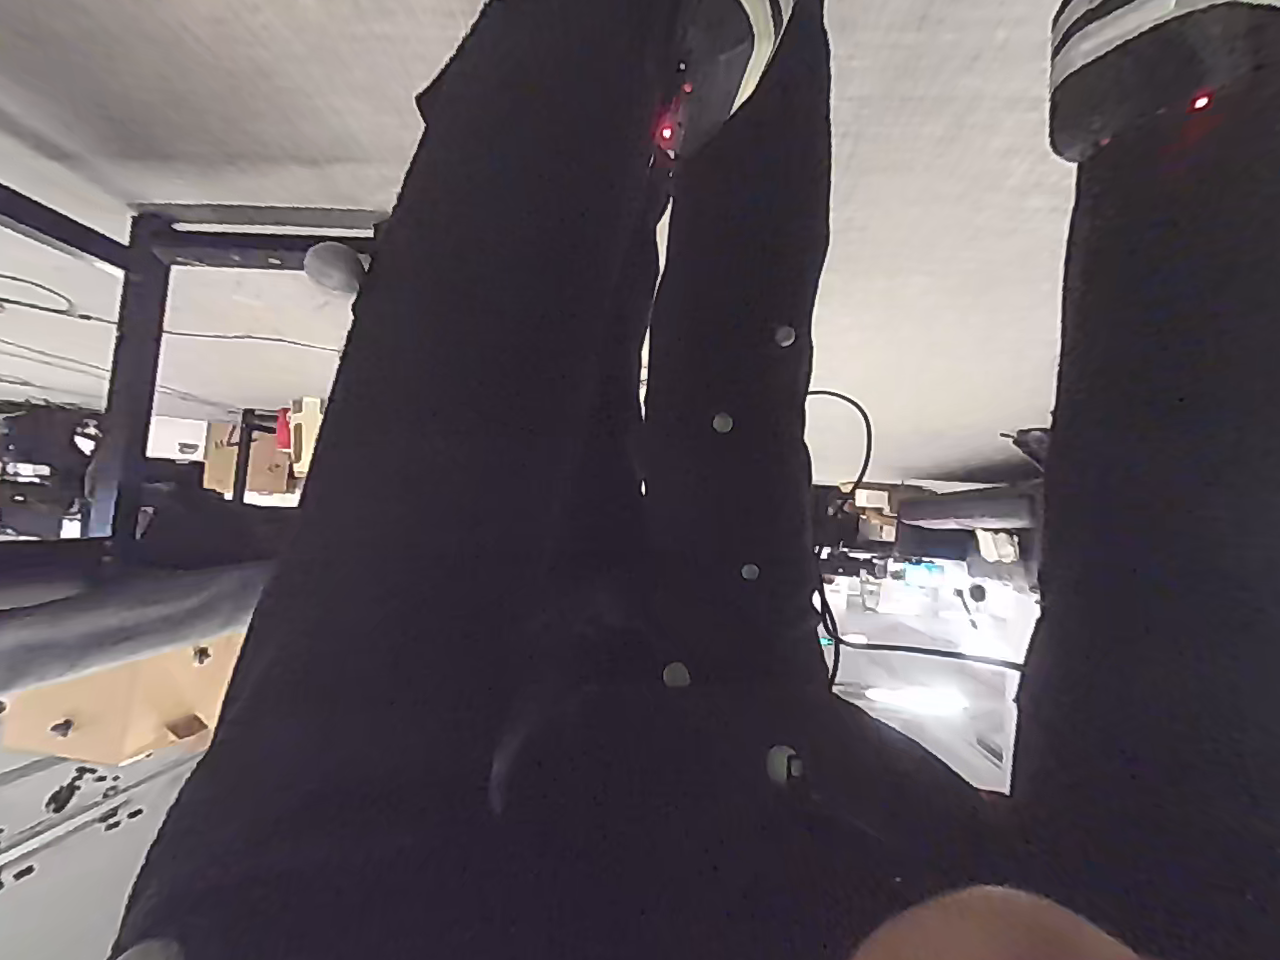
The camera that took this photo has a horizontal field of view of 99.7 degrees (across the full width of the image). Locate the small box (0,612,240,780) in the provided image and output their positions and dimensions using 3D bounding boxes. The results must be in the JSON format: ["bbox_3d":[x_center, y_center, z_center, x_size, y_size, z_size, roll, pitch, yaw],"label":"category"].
[{"bbox_3d":[-0.696,0.280,0.743,0.179,0.176,0.168,3,175,7],"label":"small box"}]
